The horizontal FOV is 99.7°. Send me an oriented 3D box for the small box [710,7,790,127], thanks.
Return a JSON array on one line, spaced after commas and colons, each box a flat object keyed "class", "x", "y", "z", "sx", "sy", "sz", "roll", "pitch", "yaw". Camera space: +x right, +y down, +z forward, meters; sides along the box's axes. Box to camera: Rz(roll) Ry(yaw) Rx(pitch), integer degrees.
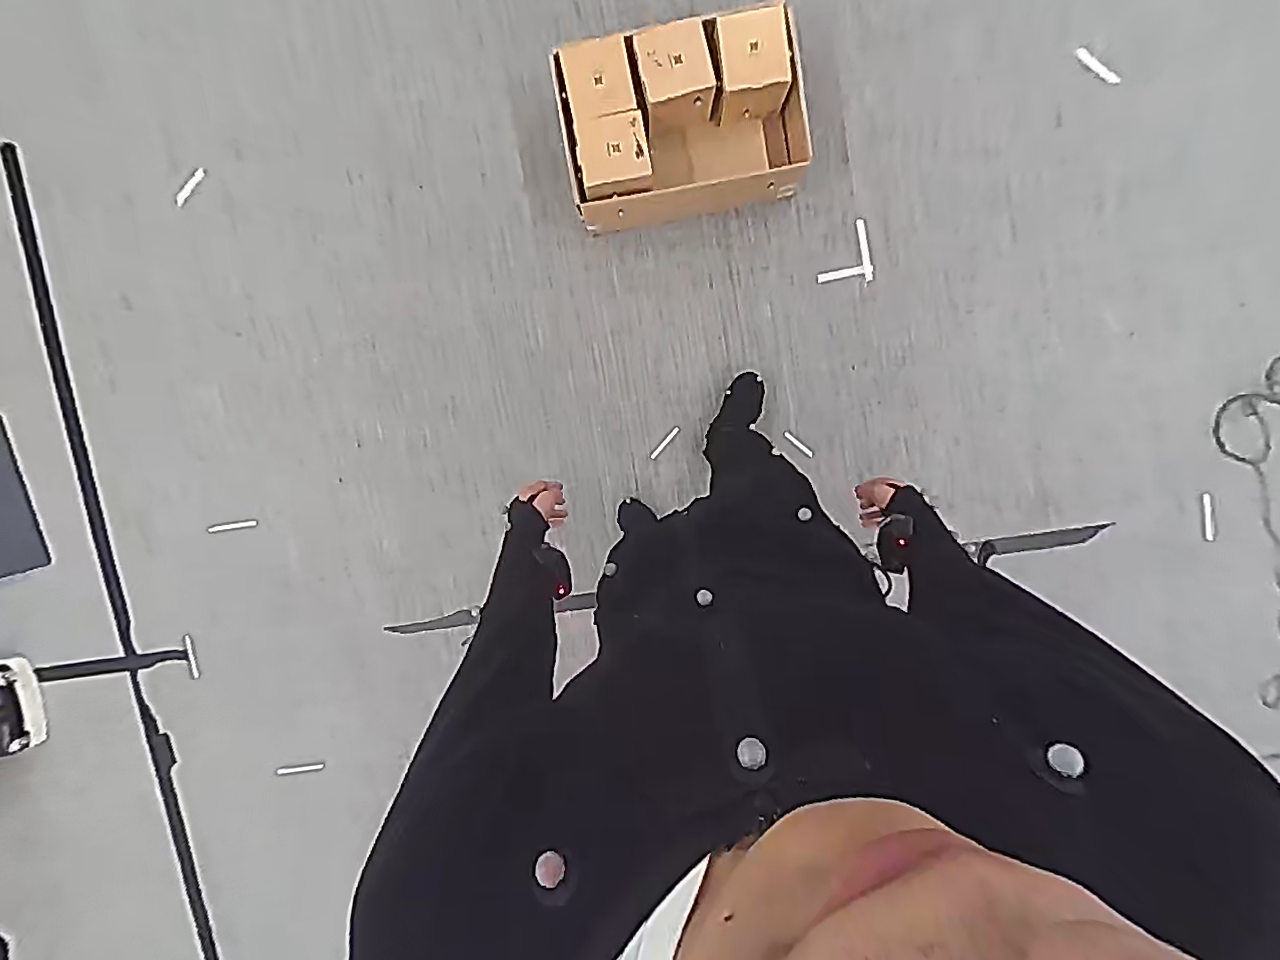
[{"class": "small box", "x": 0.278, "y": -1.061, "z": 1.402, "sx": 0.168, "sy": 0.176, "sz": 0.179, "roll": -9, "pitch": 97, "yaw": 3}]
